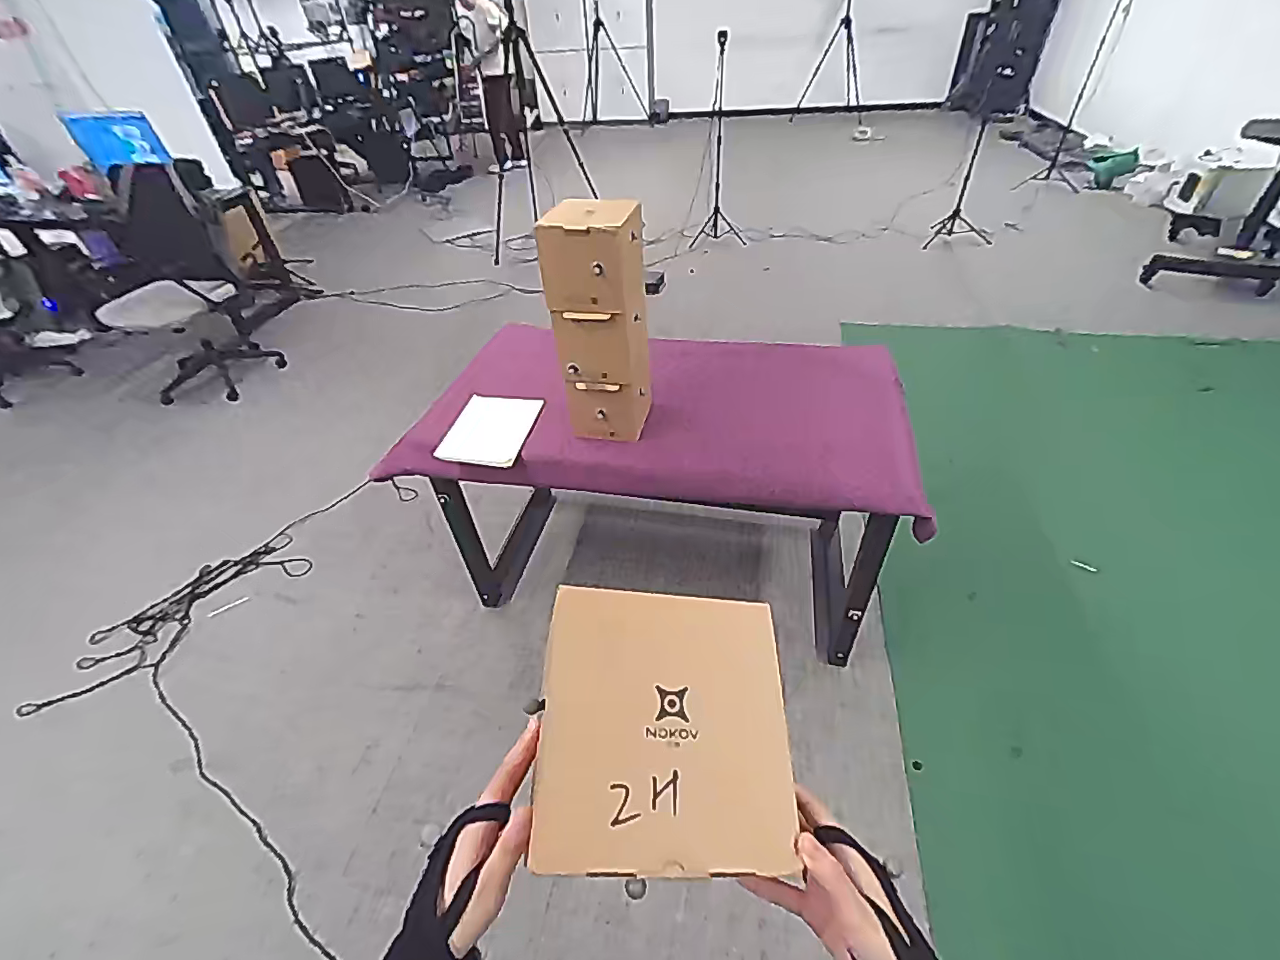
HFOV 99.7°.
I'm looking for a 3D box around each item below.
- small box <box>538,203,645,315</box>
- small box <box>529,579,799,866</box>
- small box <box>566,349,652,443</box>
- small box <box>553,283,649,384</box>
[{"bbox_3d":[-0.086,-0.448,1.097,0.168,0.176,0.179,8,42,12],"label":"small box"},{"bbox_3d":[0.004,0.200,0.434,0.168,0.176,0.179,7,55,-8],"label":"small box"},{"bbox_3d":[-0.067,-0.210,1.323,0.168,0.176,0.179,7,43,11],"label":"small box"},{"bbox_3d":[-0.077,-0.329,1.209,0.168,0.176,0.179,7,42,12],"label":"small box"}]
